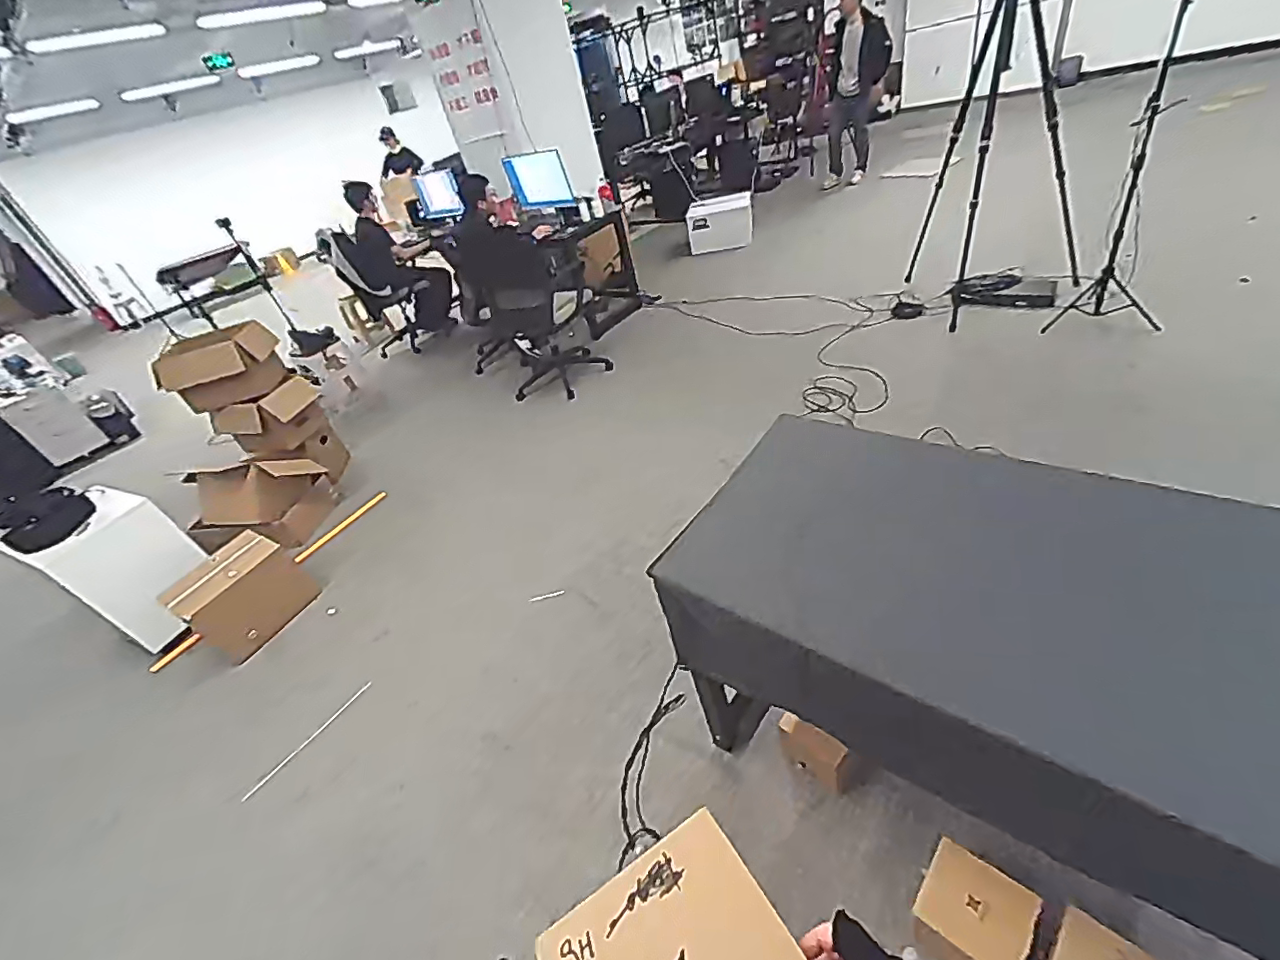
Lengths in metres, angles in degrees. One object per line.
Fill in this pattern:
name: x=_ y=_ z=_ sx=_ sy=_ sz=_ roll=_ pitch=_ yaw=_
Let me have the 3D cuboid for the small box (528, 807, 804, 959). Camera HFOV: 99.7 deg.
small box: x=0.041 y=0.405 z=0.414 sx=0.168 sy=0.176 sz=0.179 roll=-27 pitch=42 yaw=-19

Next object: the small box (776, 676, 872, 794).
small box: x=0.469 y=0.652 z=1.384 sx=0.179 sy=0.176 sz=0.168 roll=-37 pitch=40 yaw=-26
